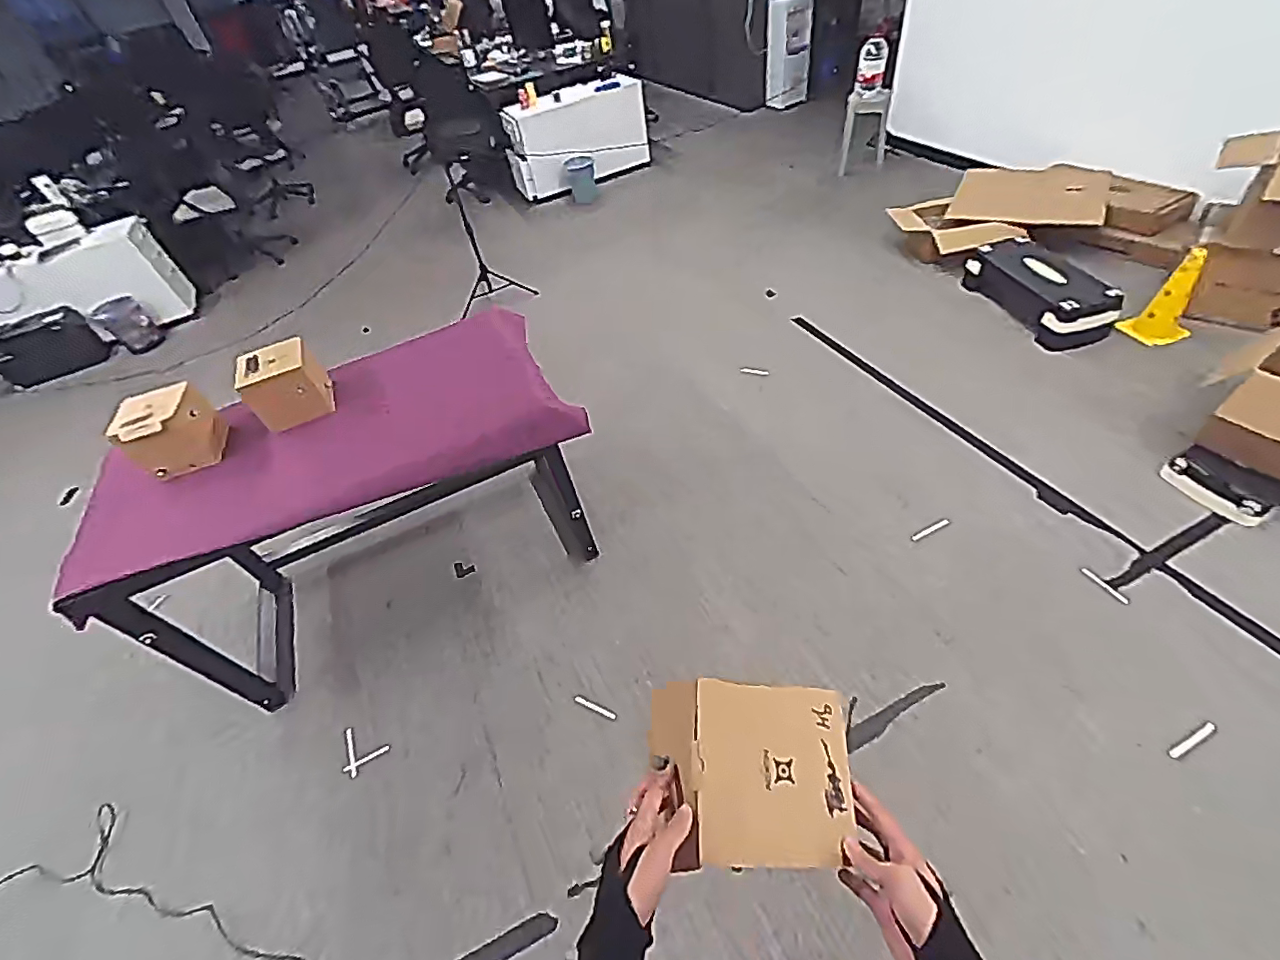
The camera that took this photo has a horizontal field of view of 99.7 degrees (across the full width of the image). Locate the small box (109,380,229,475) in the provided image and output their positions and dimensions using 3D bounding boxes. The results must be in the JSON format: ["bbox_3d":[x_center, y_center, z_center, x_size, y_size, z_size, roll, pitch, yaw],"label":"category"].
[{"bbox_3d":[-1.258,-0.136,1.462,0.168,0.176,0.179,-20,48,-7],"label":"small box"}]
